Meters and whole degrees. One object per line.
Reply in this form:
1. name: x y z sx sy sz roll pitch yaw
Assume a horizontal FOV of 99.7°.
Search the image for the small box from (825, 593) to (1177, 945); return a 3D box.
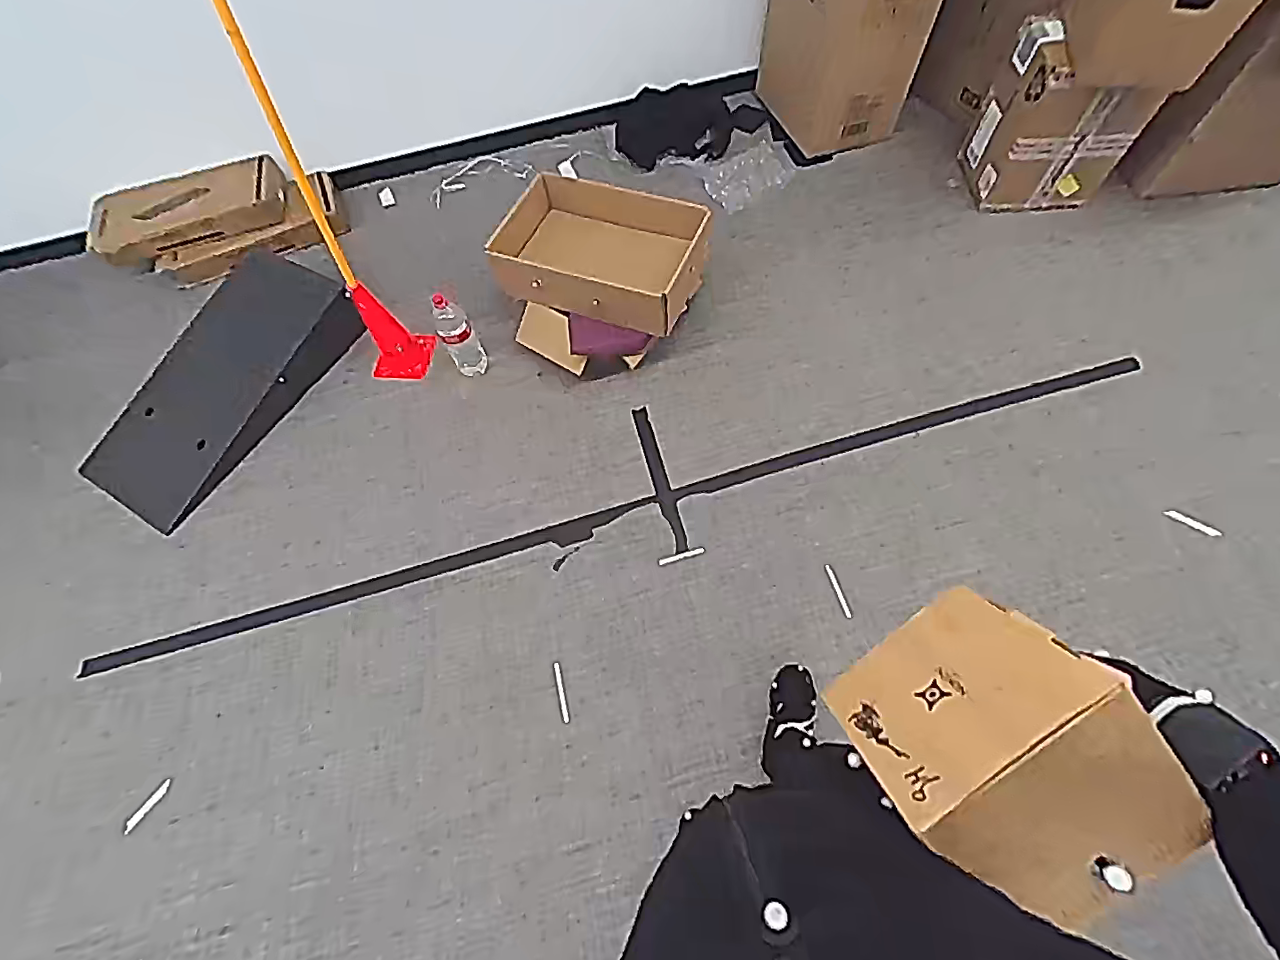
1. small box: 0.309 0.242 0.478 0.179 0.168 0.176 -40 102 4
